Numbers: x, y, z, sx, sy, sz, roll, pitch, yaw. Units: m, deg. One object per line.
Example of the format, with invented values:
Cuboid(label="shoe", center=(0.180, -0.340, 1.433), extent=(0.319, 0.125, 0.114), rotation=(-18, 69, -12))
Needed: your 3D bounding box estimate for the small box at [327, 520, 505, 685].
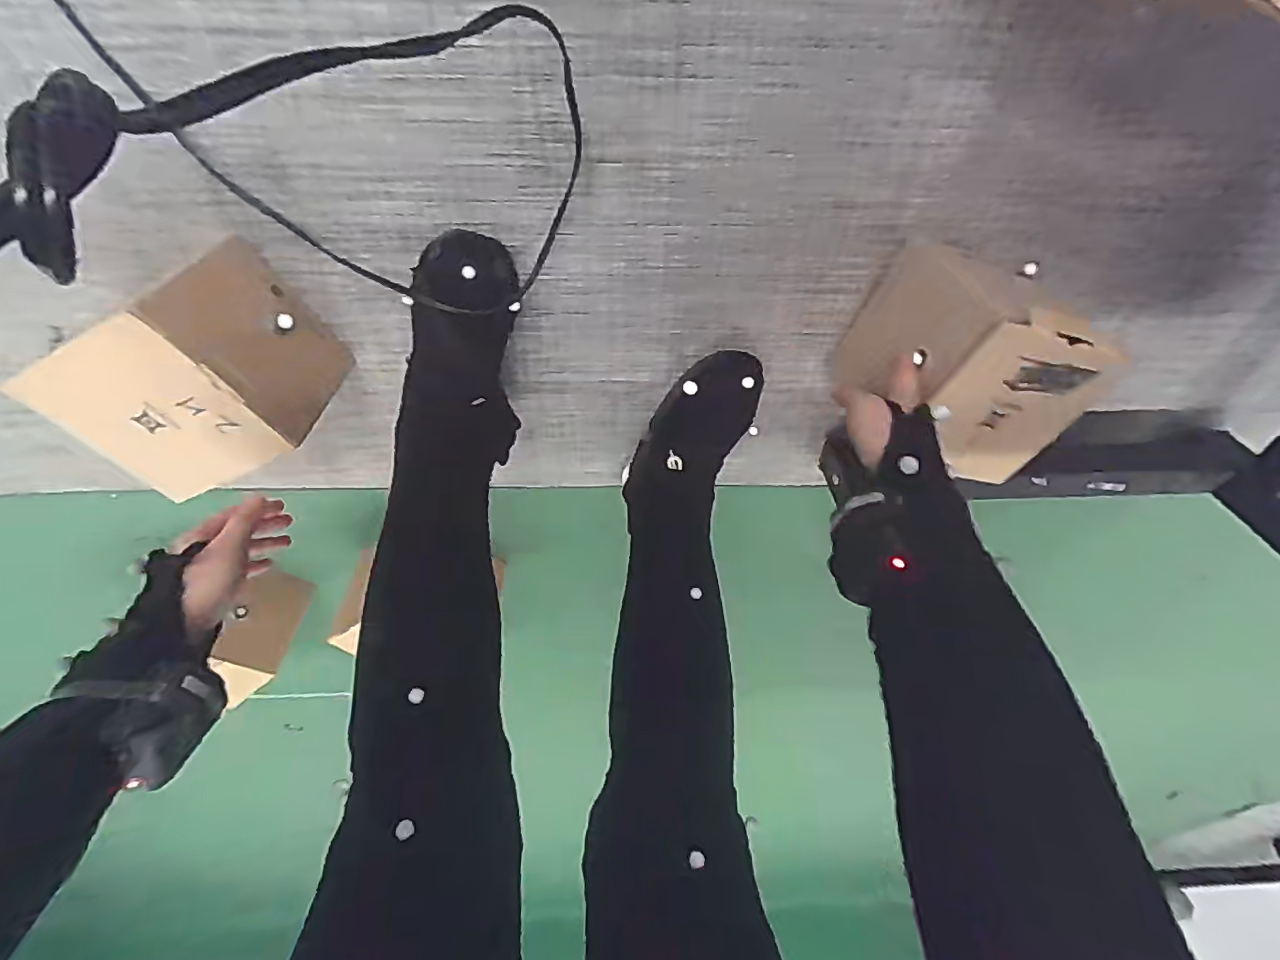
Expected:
Cuboid(label="small box", center=(-0.337, 0.193, 0.852), extent=(0.168, 0.176, 0.179), rotation=(-28, 128, 22))

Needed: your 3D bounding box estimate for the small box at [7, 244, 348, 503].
Cuboid(label="small box", center=(-0.447, -0.110, 0.559), extent=(0.179, 0.176, 0.168), rotation=(-20, 131, 14))

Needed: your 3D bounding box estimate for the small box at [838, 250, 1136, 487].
Cuboid(label="small box", center=(0.344, -0.119, 0.582), extent=(0.168, 0.176, 0.179), rotation=(8, 134, -15))
